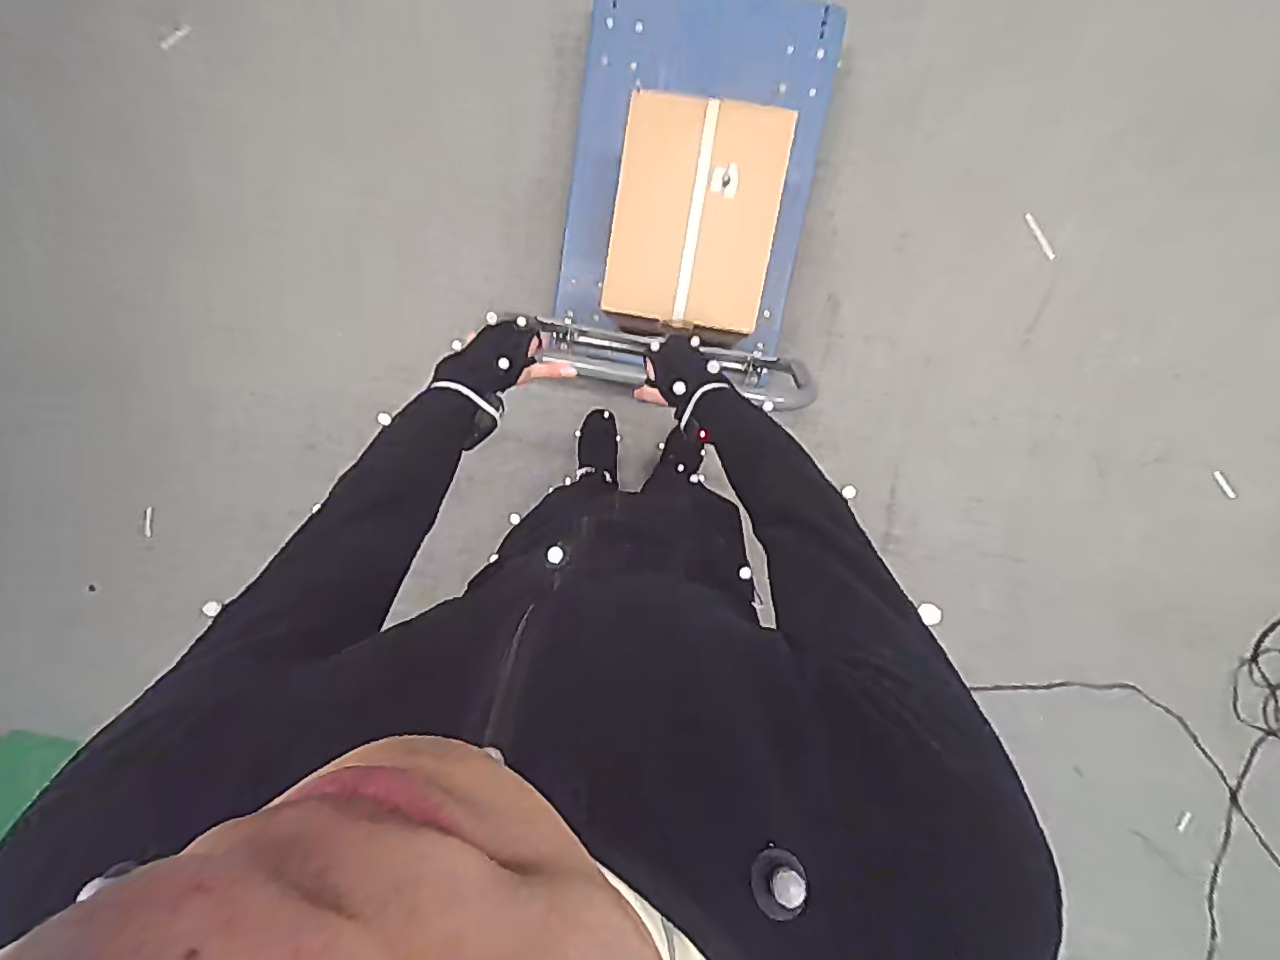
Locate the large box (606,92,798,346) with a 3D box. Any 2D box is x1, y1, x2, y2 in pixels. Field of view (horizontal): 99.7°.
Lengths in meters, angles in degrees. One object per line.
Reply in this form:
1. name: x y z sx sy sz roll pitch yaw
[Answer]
1. large box: 0.122 -0.524 1.173 0.320 0.320 0.408 10 100 1
